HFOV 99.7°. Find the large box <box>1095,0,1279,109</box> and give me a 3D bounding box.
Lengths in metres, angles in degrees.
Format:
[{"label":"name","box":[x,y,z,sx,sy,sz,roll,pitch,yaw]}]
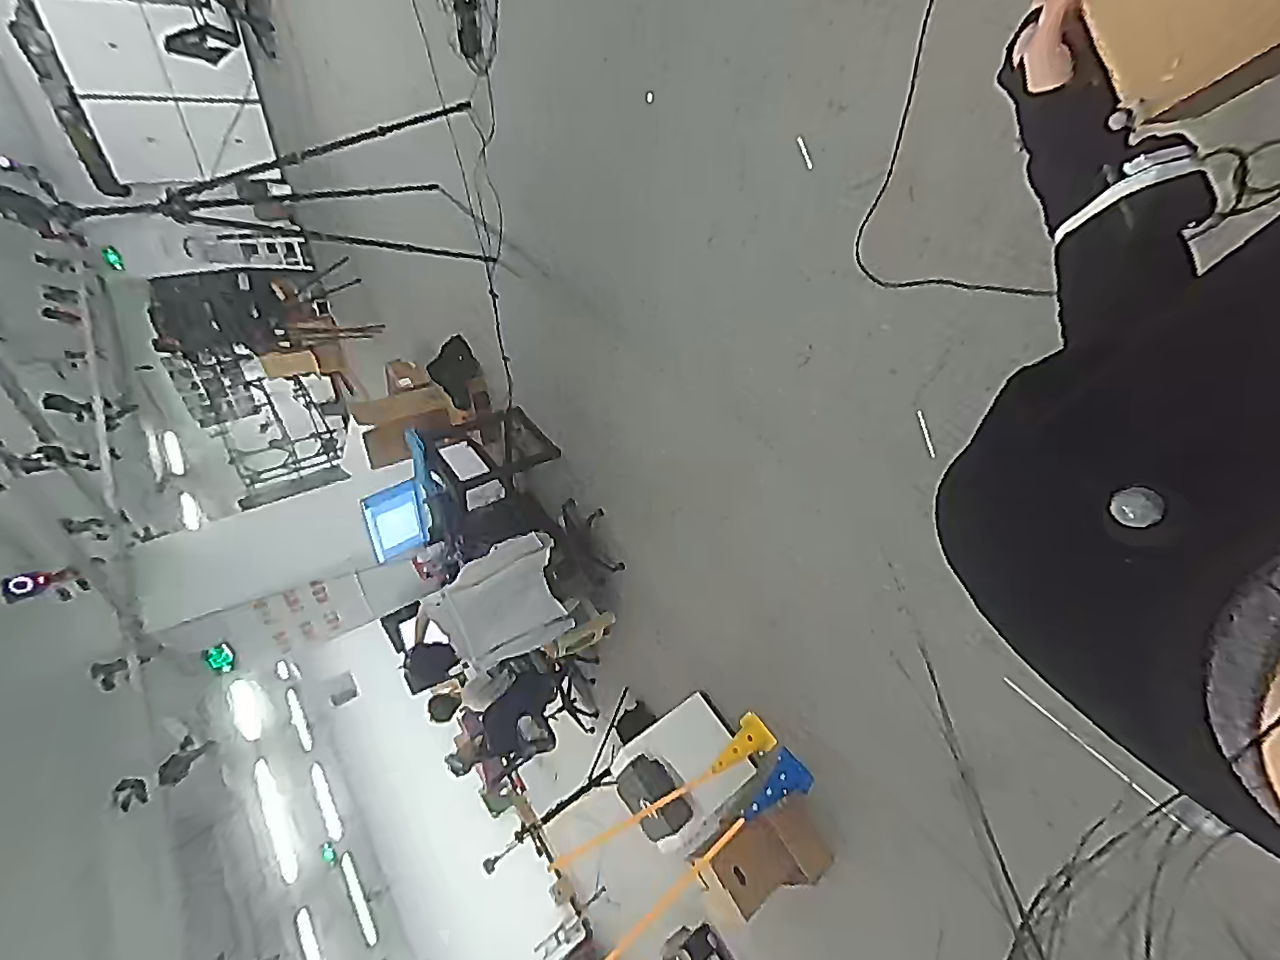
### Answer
[{"label":"large box","box":[0.525,-0.518,0.319,0.408,0.320,0.320,-21,96,56]}]
